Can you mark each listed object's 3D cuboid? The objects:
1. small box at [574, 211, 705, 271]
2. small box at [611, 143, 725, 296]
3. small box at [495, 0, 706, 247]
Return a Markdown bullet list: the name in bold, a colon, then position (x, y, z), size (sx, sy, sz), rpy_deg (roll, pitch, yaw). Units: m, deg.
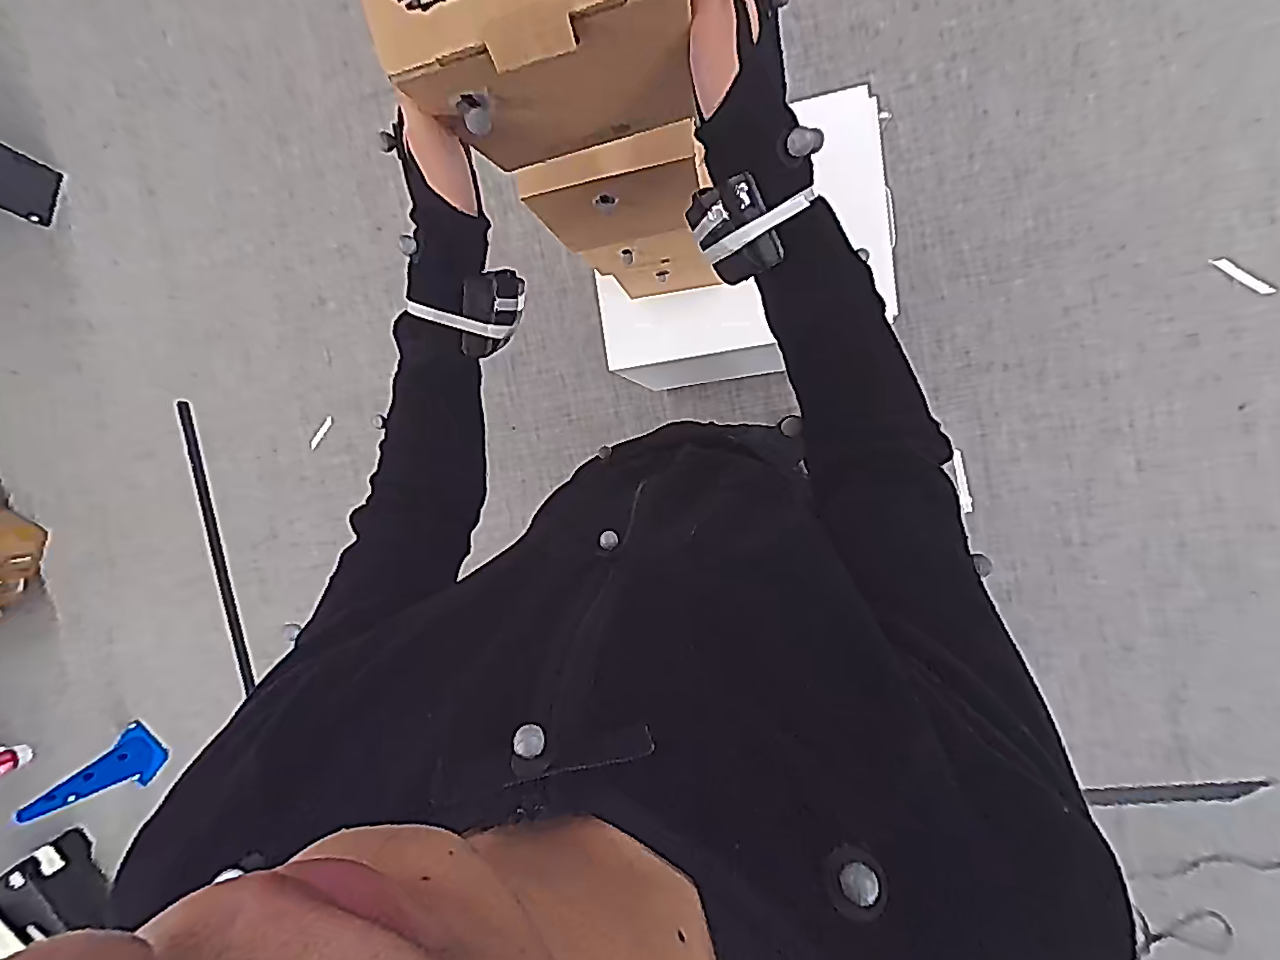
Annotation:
- **small box**: position (-0.002, -0.399, 0.742), size (0.168, 0.176, 0.179), rpy_deg (-4, 94, 11)
- **small box**: position (0.044, -0.416, 0.898), size (0.179, 0.176, 0.168), rpy_deg (-6, 94, 10)
- **small box**: position (-0.030, -0.371, 0.582), size (0.179, 0.176, 0.168), rpy_deg (-7, 94, 11)
